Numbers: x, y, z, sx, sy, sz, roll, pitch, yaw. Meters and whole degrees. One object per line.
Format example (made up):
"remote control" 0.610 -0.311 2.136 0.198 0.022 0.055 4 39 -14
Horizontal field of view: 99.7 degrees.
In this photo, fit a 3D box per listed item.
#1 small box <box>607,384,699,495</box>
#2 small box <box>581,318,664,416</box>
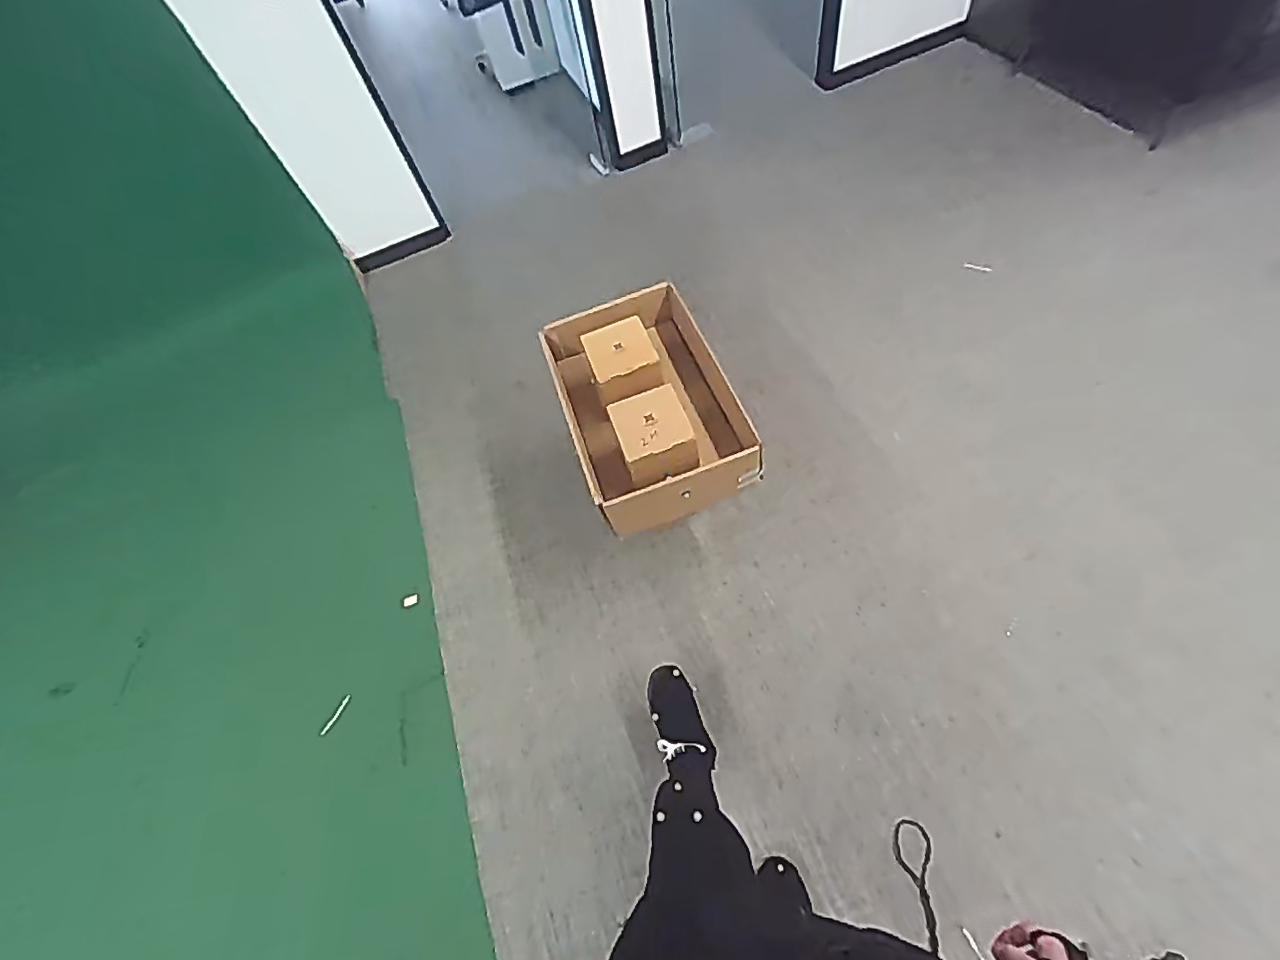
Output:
"small box" 0.035 -0.093 1.303 0.168 0.176 0.179 -21 58 -1
"small box" -0.042 -0.293 1.442 0.168 0.176 0.179 -21 59 -2
